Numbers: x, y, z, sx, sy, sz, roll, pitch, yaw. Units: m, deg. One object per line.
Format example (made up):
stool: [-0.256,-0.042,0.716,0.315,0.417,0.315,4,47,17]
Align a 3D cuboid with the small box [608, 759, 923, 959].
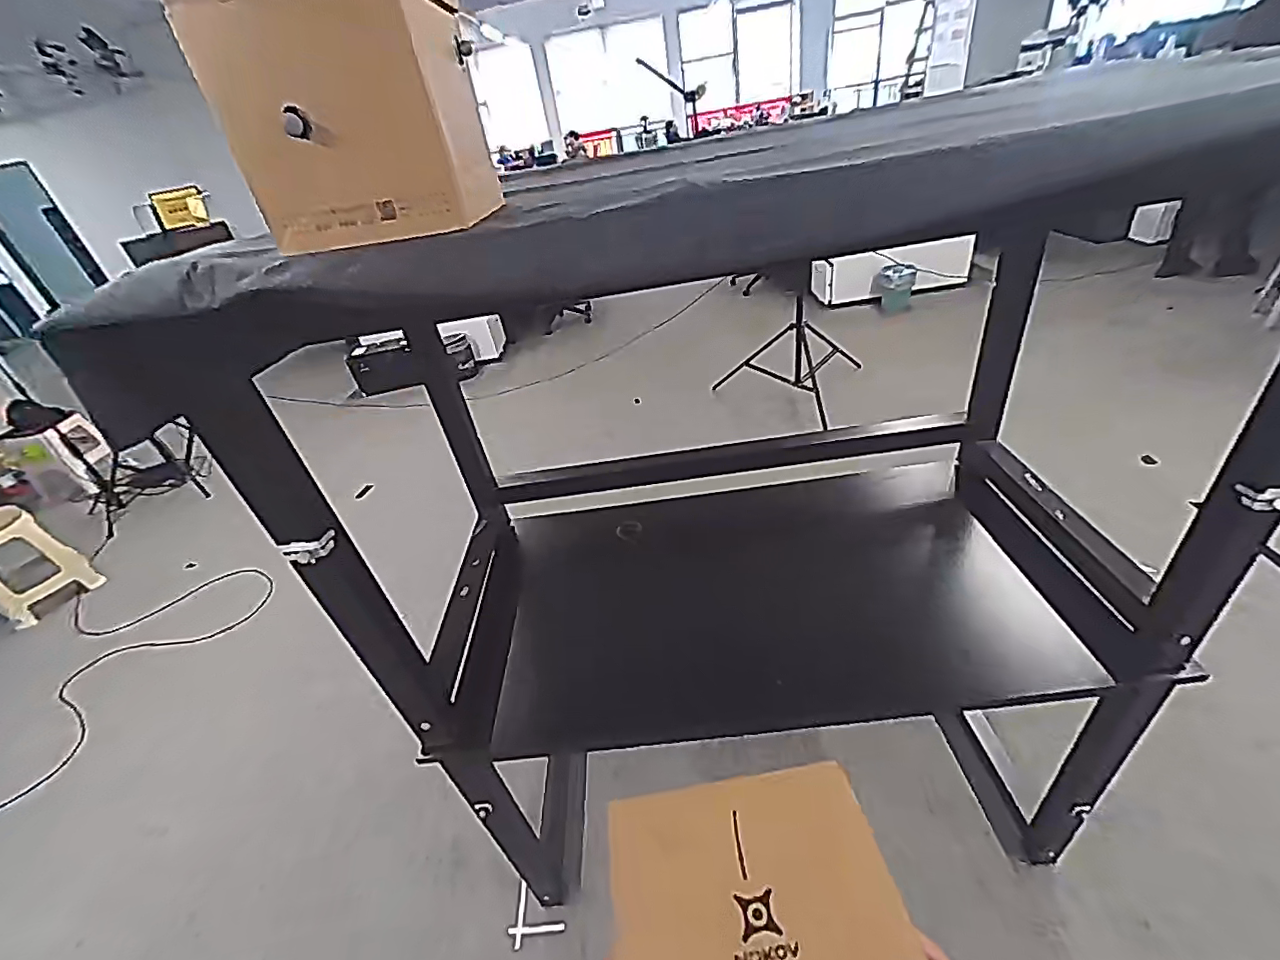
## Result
small box: [0.076,0.318,0.343,0.168,0.176,0.179,-9,31,-2]

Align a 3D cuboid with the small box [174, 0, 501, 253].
small box: [-0.237,-0.311,0.486,0.168,0.176,0.179,-7,32,3]

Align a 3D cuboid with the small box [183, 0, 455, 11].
small box: [-0.256,-0.447,0.398,0.168,0.176,0.179,-7,33,6]
